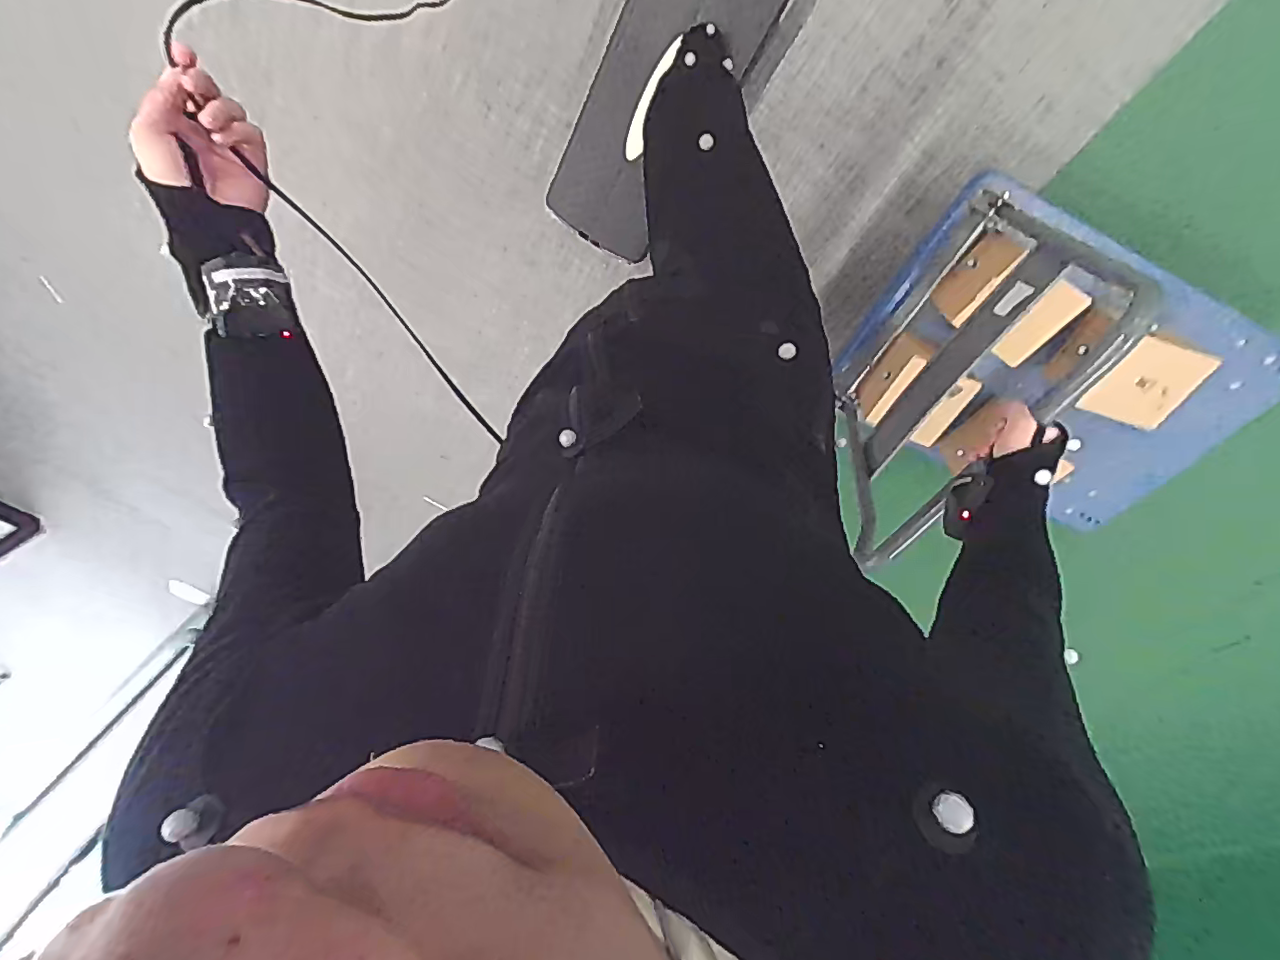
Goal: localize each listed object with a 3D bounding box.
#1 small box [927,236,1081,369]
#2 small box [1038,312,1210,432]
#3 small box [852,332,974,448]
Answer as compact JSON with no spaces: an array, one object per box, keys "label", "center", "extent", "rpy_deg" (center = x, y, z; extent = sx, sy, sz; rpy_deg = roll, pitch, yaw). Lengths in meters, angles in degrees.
[{"label":"small box","center":[0.725,-0.366,1.098],"extent":[0.179,0.176,0.168],"rpy_deg":[31,127,-10]},{"label":"small box","center":[0.996,-0.233,1.137],"extent":[0.179,0.176,0.168],"rpy_deg":[18,128,-2]},{"label":"small box","center":[0.609,-0.211,1.235],"extent":[0.168,0.176,0.179],"rpy_deg":[23,128,-5]}]
